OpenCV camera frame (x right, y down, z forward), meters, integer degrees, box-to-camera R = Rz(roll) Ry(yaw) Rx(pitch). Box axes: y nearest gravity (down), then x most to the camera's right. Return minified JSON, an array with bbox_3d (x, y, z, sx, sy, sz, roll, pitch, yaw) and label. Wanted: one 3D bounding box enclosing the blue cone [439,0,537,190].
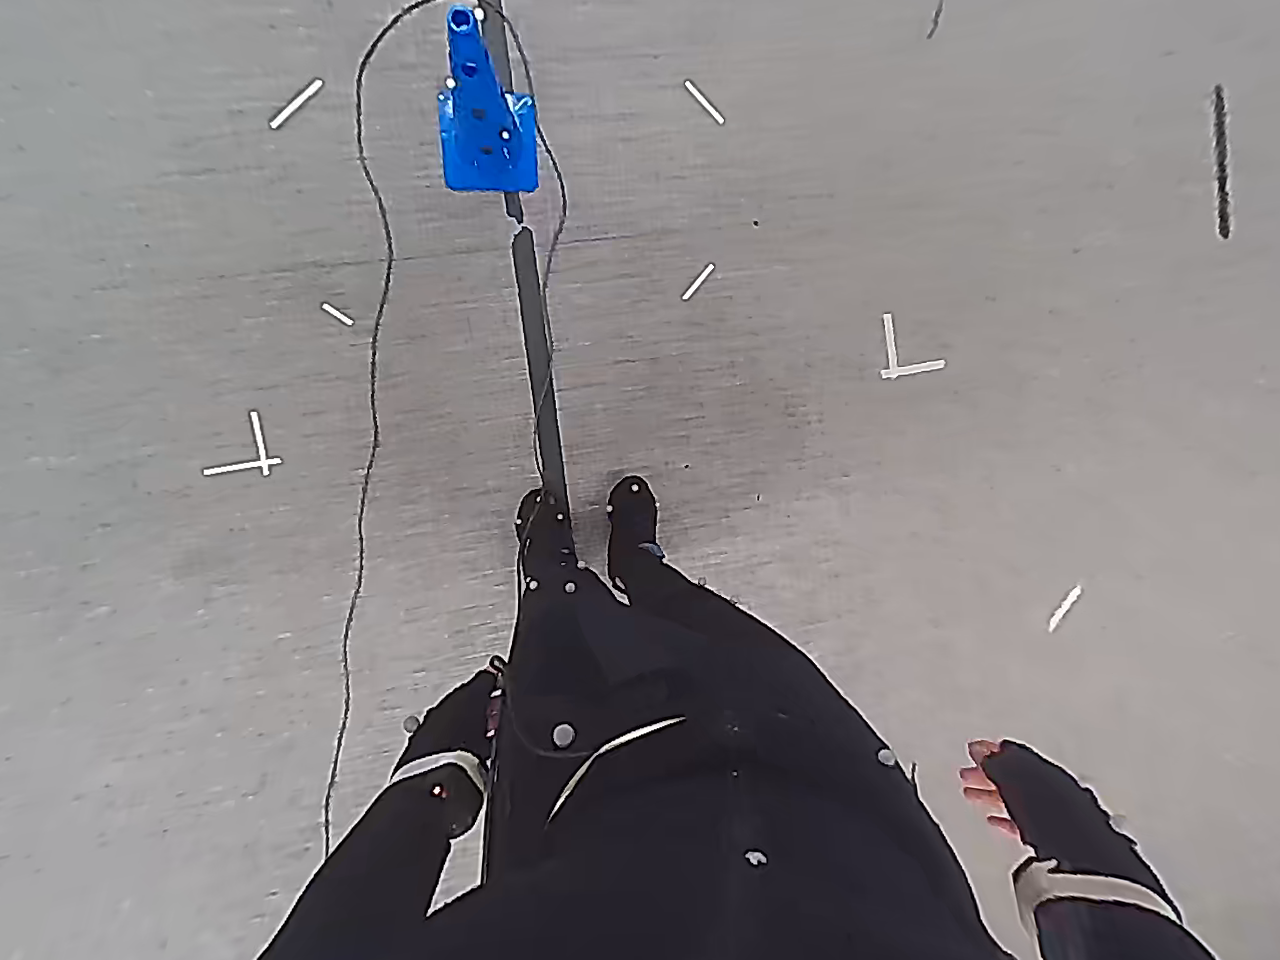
[{"bbox_3d":[-0.293,-0.696,0.975,0.193,0.380,0.192,-5,96,-7],"label":"blue cone"}]
